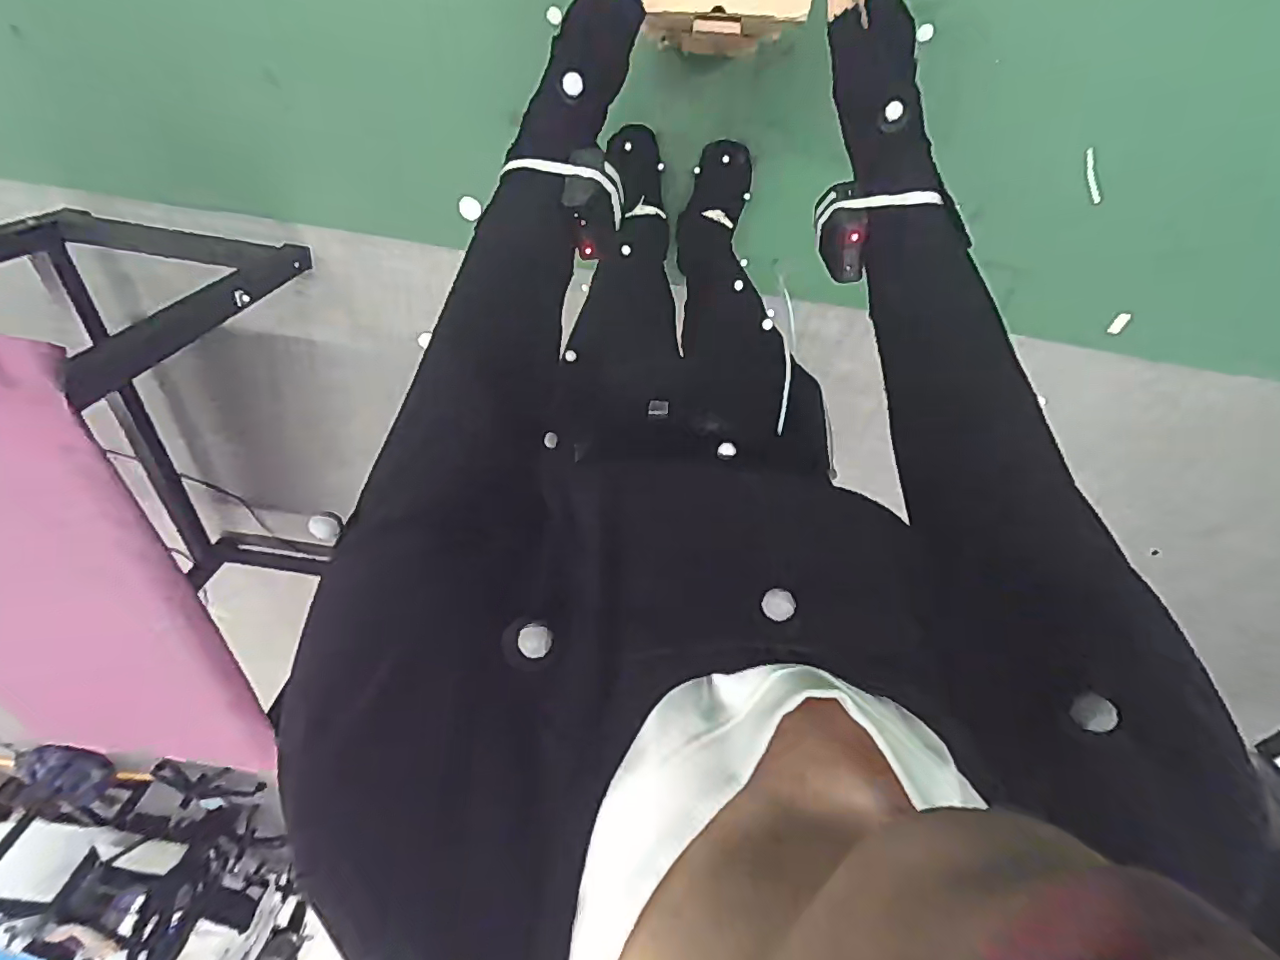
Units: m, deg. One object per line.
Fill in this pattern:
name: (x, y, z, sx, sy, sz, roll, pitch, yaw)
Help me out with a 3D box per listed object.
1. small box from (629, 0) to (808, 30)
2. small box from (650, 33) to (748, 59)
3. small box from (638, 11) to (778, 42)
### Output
small box: (0.078, -0.542, 0.505, 0.168, 0.176, 0.179, 4, 129, 2)
small box: (0.112, -0.831, 0.905, 0.168, 0.176, 0.179, 9, 129, -3)
small box: (0.090, -0.636, 0.640, 0.168, 0.176, 0.179, 5, 128, 0)
